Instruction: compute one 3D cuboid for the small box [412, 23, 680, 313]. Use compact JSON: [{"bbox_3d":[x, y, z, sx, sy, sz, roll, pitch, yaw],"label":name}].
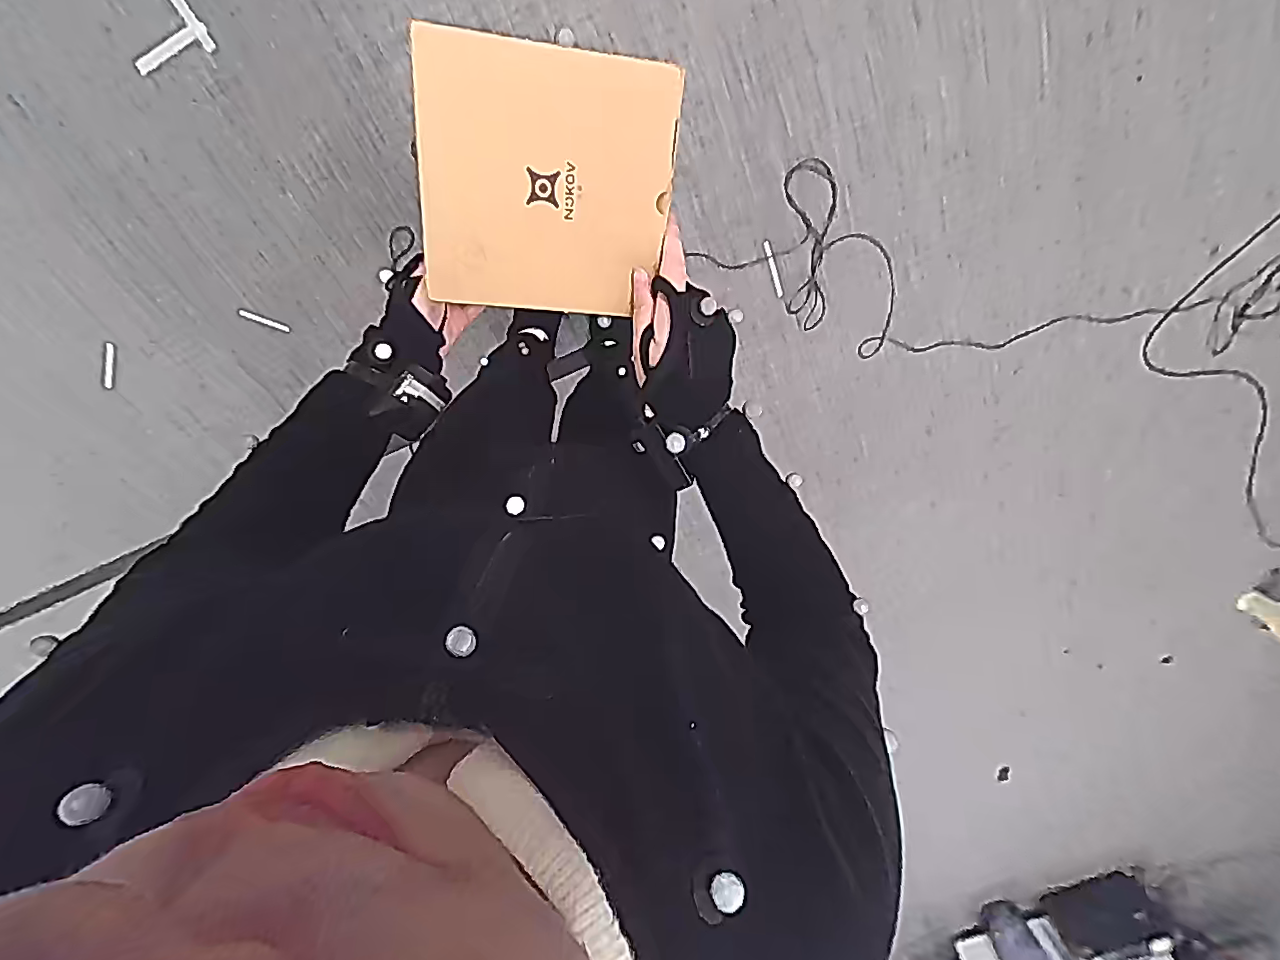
[{"bbox_3d":[-0.078,-0.243,0.455,0.179,0.176,0.168,1,116,-11],"label":"small box"}]
